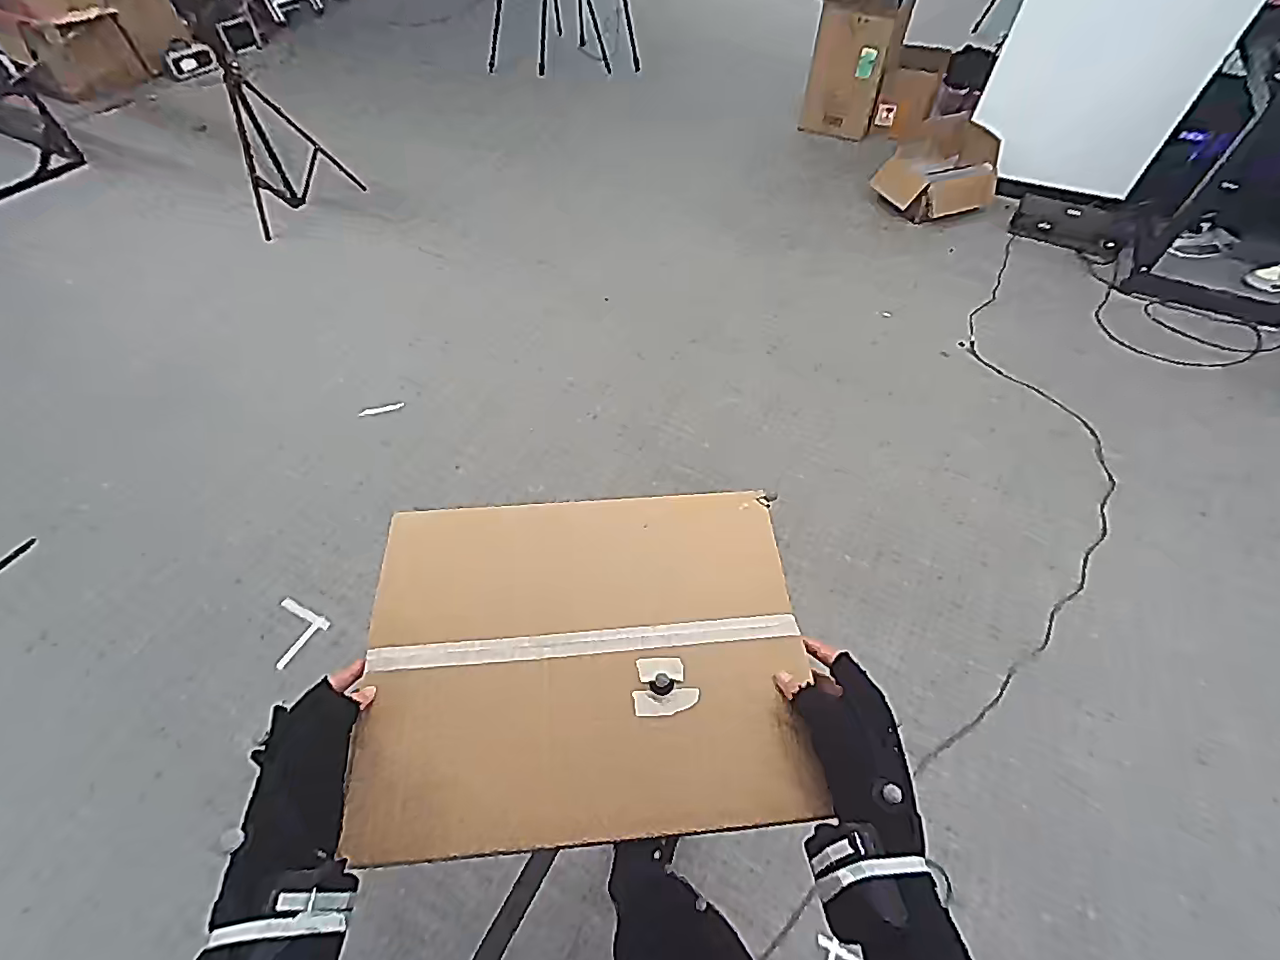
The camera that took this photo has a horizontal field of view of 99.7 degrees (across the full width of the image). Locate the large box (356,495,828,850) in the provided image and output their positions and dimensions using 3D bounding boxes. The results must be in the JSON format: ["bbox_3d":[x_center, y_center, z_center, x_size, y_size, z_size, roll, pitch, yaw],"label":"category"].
[{"bbox_3d":[-0.052,0.240,0.653,0.408,0.320,0.320,-3,57,-4],"label":"large box"}]
